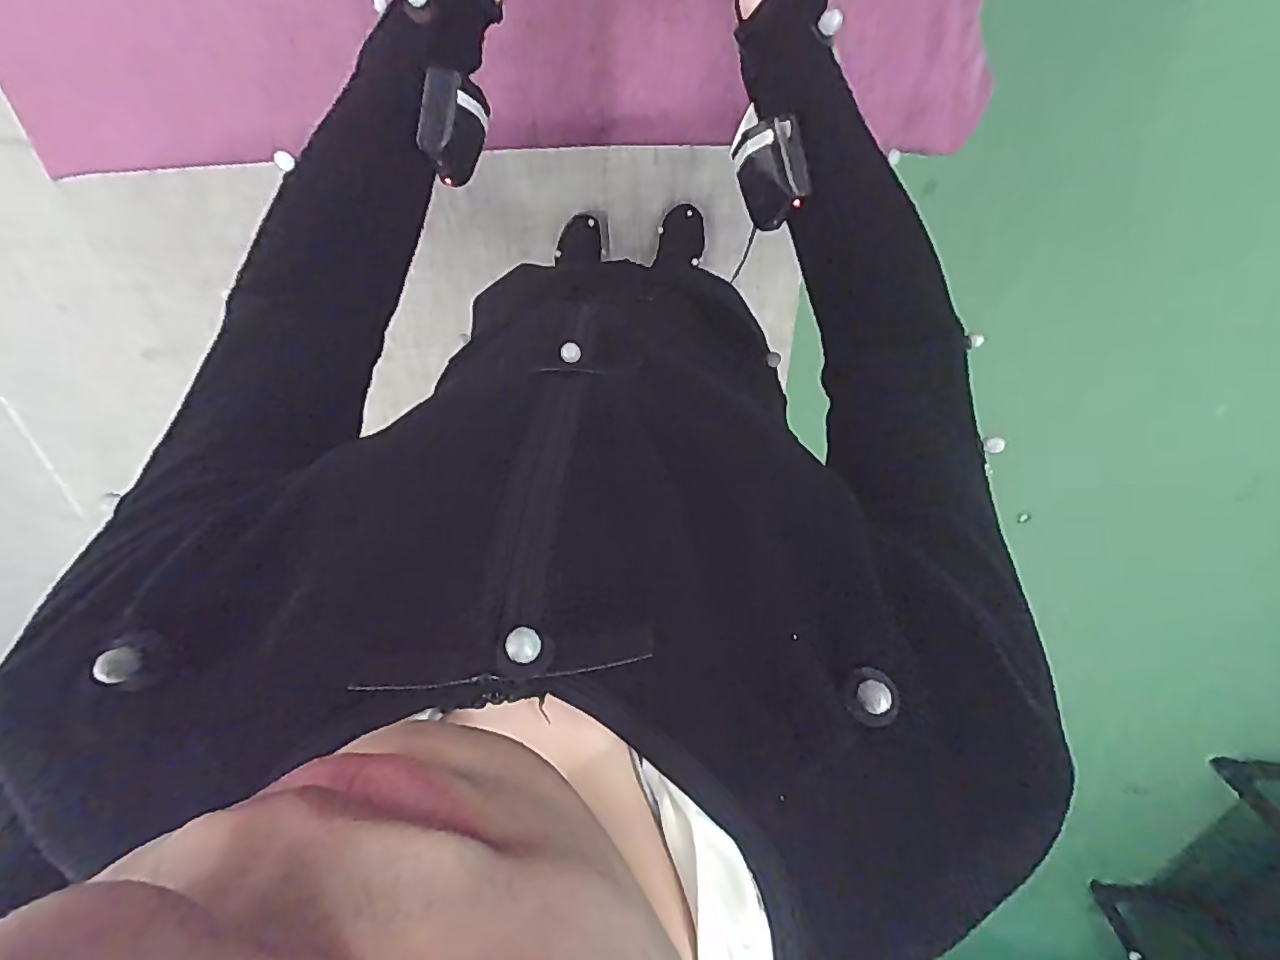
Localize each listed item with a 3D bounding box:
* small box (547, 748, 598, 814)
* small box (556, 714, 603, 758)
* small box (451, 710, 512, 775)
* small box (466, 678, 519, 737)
[{"bbox_3d":[-0.274,1.220,2.200,0.179,0.176,0.168,7,120,-2],"label":"small box"},{"bbox_3d":[-0.264,1.143,2.347,0.179,0.176,0.168,8,120,-1],"label":"small box"},{"bbox_3d":[-0.613,1.022,2.110,0.179,0.176,0.168,0,119,1],"label":"small box"},{"bbox_3d":[-0.607,0.948,2.254,0.179,0.176,0.168,1,120,2],"label":"small box"}]
